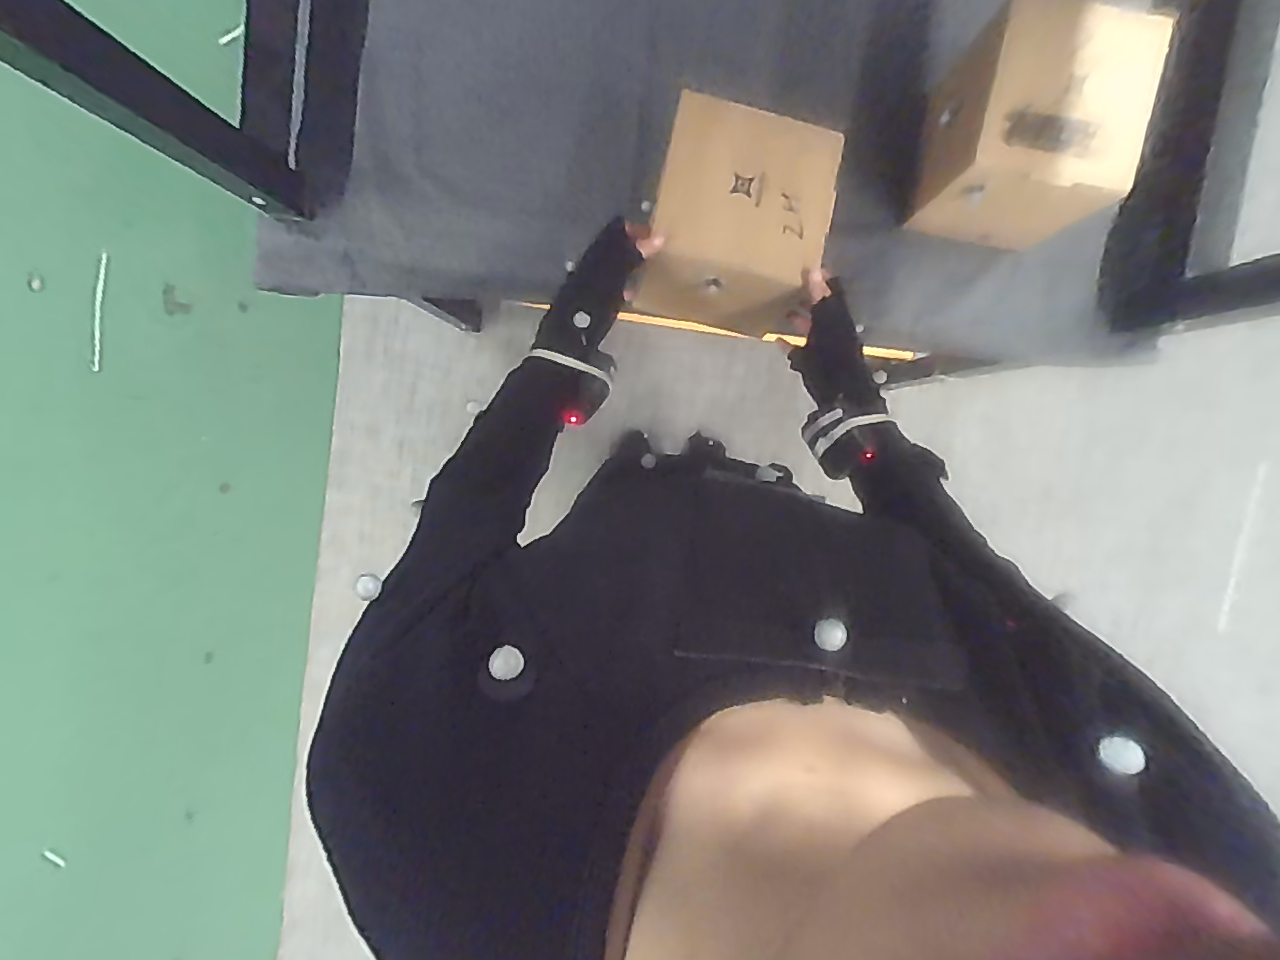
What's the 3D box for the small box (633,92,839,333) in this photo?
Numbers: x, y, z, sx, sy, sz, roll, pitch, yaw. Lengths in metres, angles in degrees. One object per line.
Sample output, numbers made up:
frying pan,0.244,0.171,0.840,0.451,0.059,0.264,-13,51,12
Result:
small box,0.094,-0.285,0.618,0.179,0.176,0.168,13,87,-5
